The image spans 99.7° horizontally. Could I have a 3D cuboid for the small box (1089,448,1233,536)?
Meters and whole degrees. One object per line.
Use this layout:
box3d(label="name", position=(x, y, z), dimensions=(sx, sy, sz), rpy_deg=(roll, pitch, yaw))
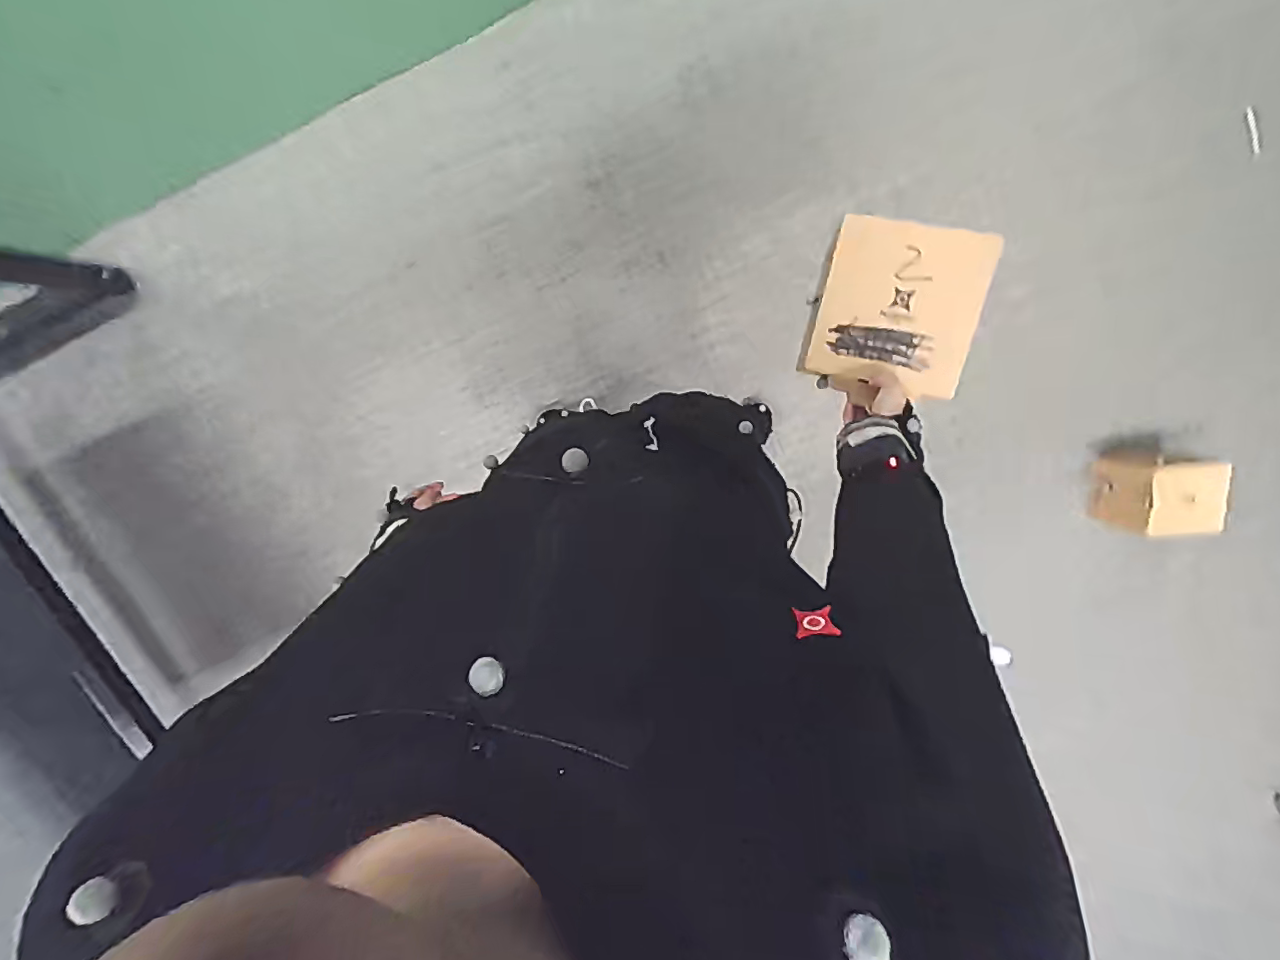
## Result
box3d(label="small box", position=(1.238, 0.023, 1.297), dimensions=(0.179, 0.176, 0.168), rpy_deg=(-6, 103, 1))
